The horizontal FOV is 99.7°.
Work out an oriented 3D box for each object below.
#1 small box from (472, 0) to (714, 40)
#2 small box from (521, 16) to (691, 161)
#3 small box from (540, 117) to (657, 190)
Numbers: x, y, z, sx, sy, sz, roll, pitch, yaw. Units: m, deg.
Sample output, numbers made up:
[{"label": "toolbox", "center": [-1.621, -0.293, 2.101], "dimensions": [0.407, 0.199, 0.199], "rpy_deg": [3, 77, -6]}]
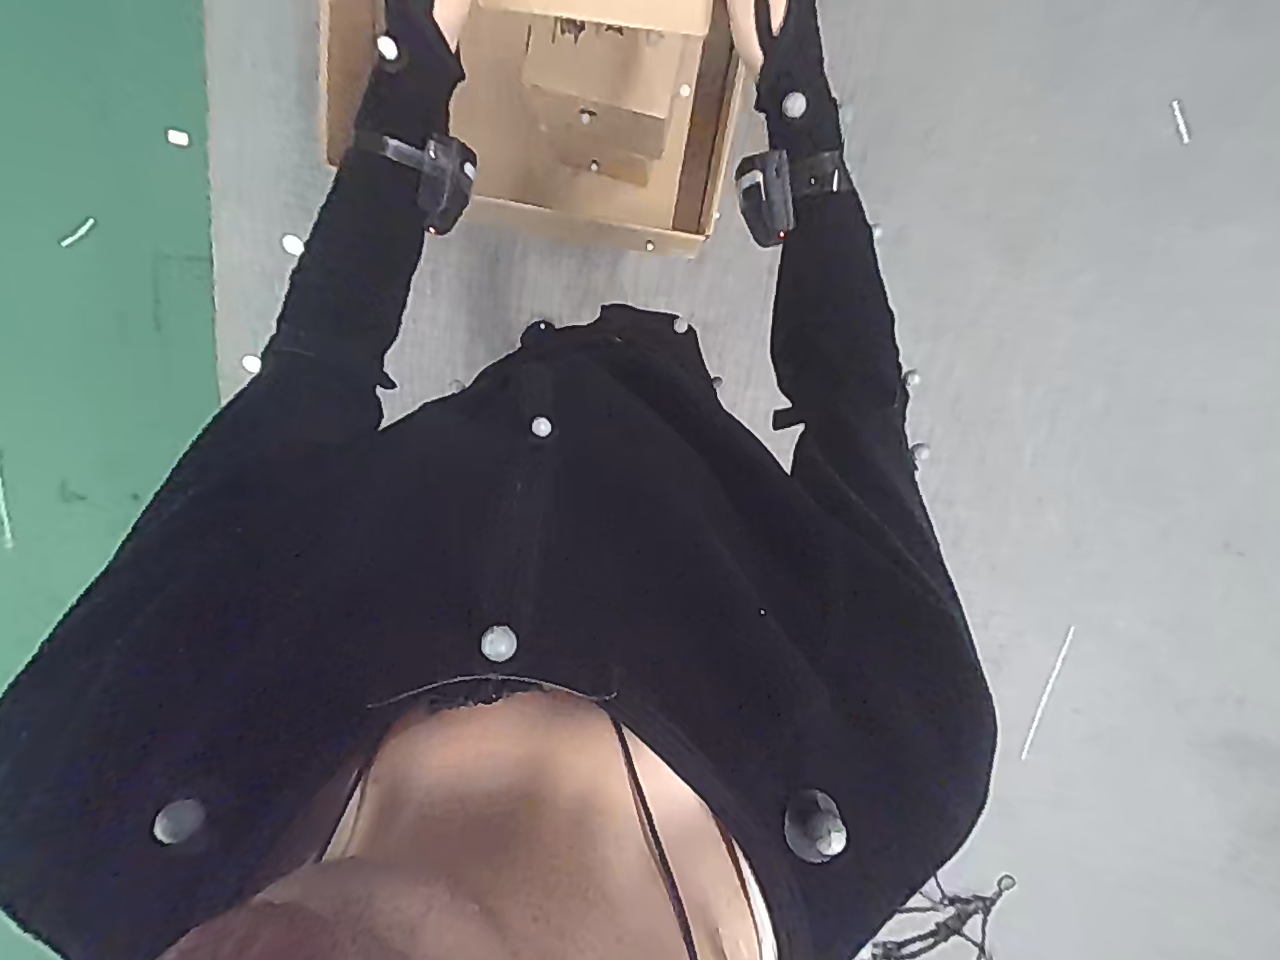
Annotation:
[{"label": "small box", "center": [-0.024, -0.450, 0.400], "dimensions": [0.179, 0.176, 0.168], "rpy_deg": [7, 133, -1]}, {"label": "small box", "center": [-0.034, -0.532, 0.685], "dimensions": [0.179, 0.176, 0.168], "rpy_deg": [13, 105, -3]}, {"label": "small box", "center": [-0.044, -0.579, 0.843], "dimensions": [0.168, 0.176, 0.179], "rpy_deg": [15, 104, -3]}]
